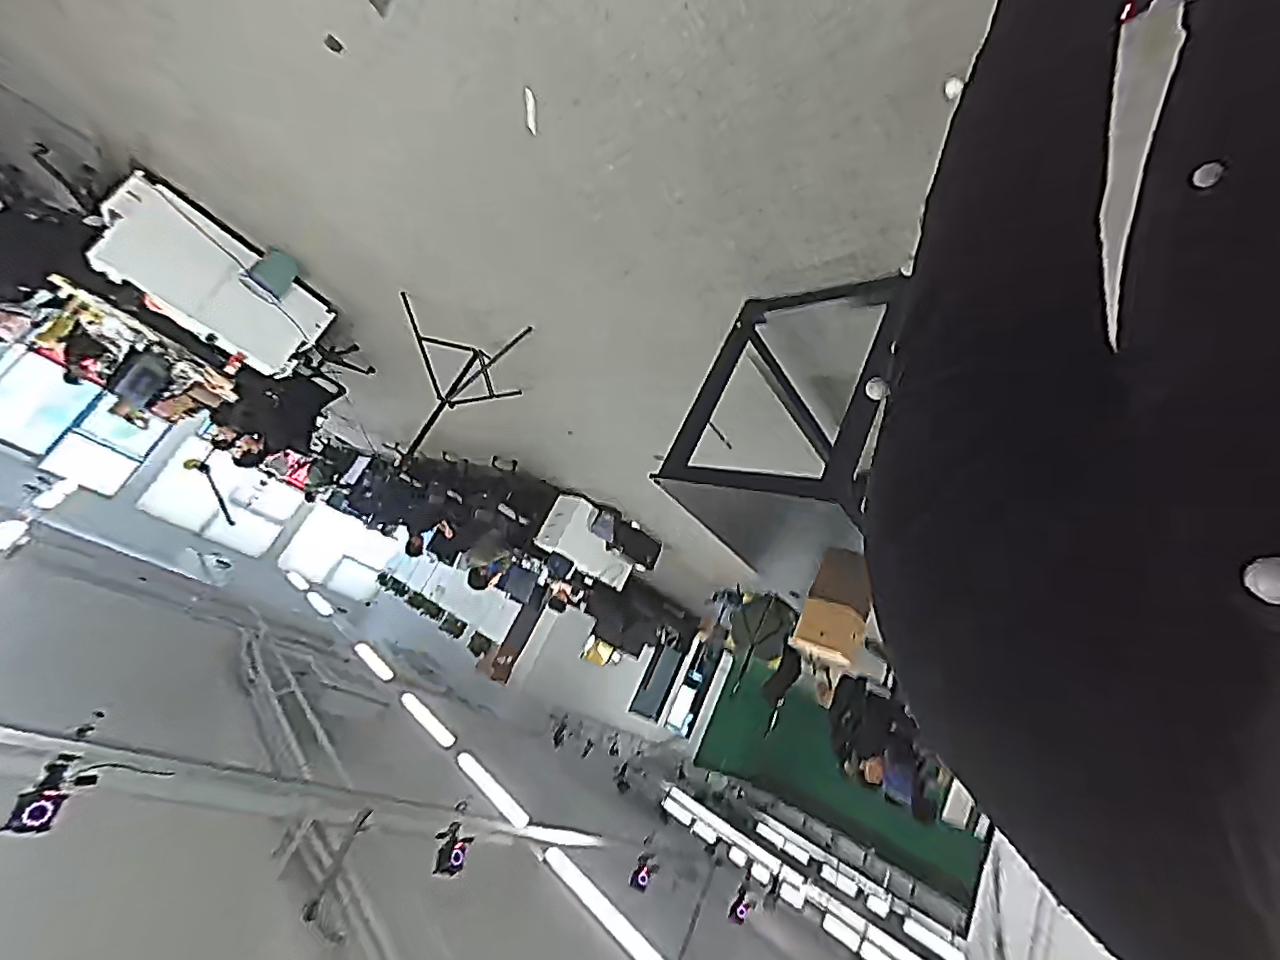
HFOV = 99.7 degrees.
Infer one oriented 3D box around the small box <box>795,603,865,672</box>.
[{"bbox_3d":[0.699,0.567,1.965,0.179,0.176,0.168,10,154,45],"label":"small box"}]
